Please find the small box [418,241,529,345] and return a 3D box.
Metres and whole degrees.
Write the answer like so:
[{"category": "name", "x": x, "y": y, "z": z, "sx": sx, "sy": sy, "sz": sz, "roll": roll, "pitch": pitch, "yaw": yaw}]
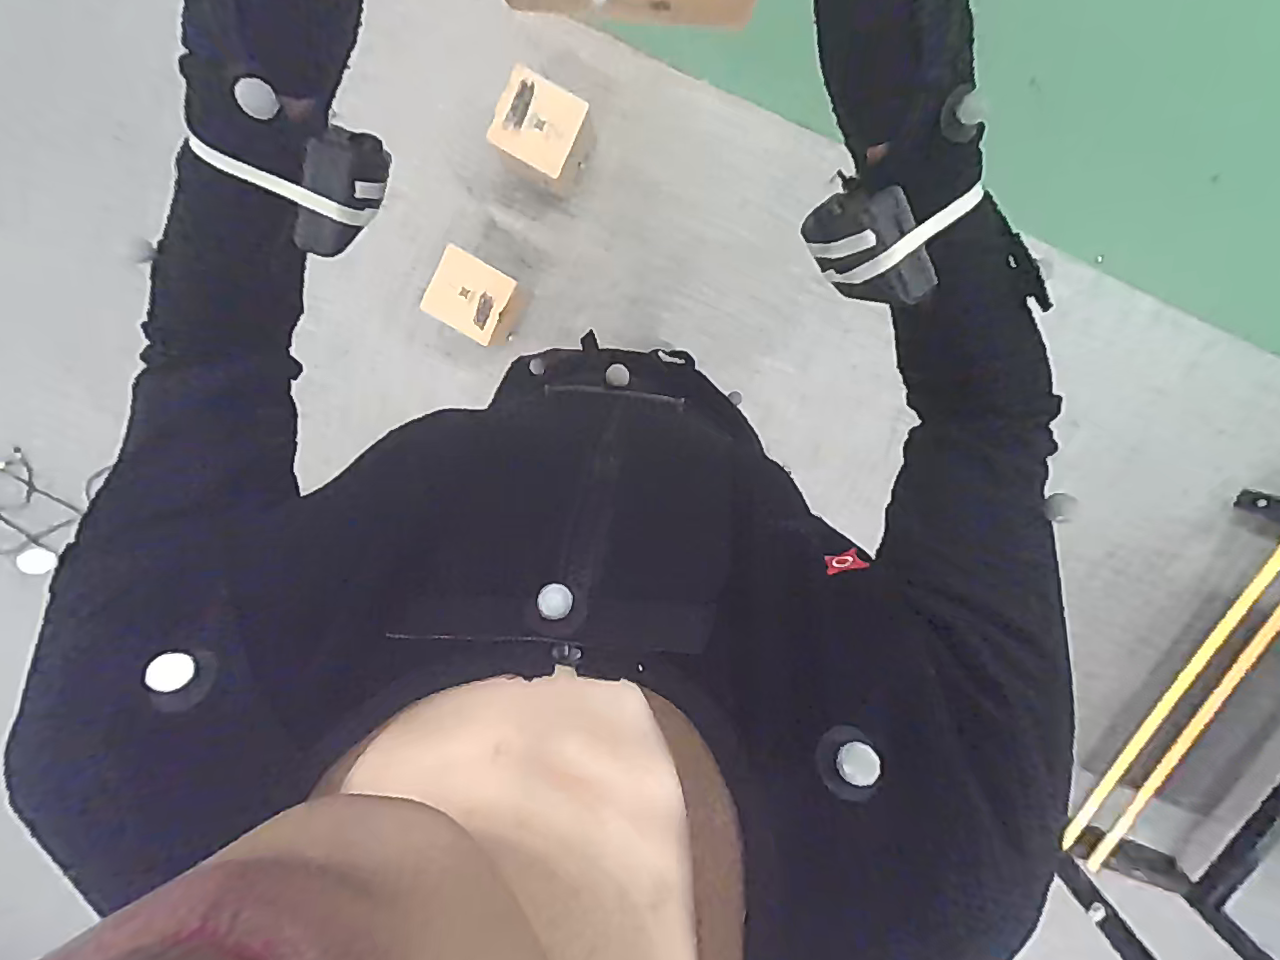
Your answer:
[{"category": "small box", "x": -0.388, "y": -0.439, "z": 1.296, "sx": 0.179, "sy": 0.176, "sz": 0.168, "roll": 30, "pitch": 102, "yaw": -5}]
